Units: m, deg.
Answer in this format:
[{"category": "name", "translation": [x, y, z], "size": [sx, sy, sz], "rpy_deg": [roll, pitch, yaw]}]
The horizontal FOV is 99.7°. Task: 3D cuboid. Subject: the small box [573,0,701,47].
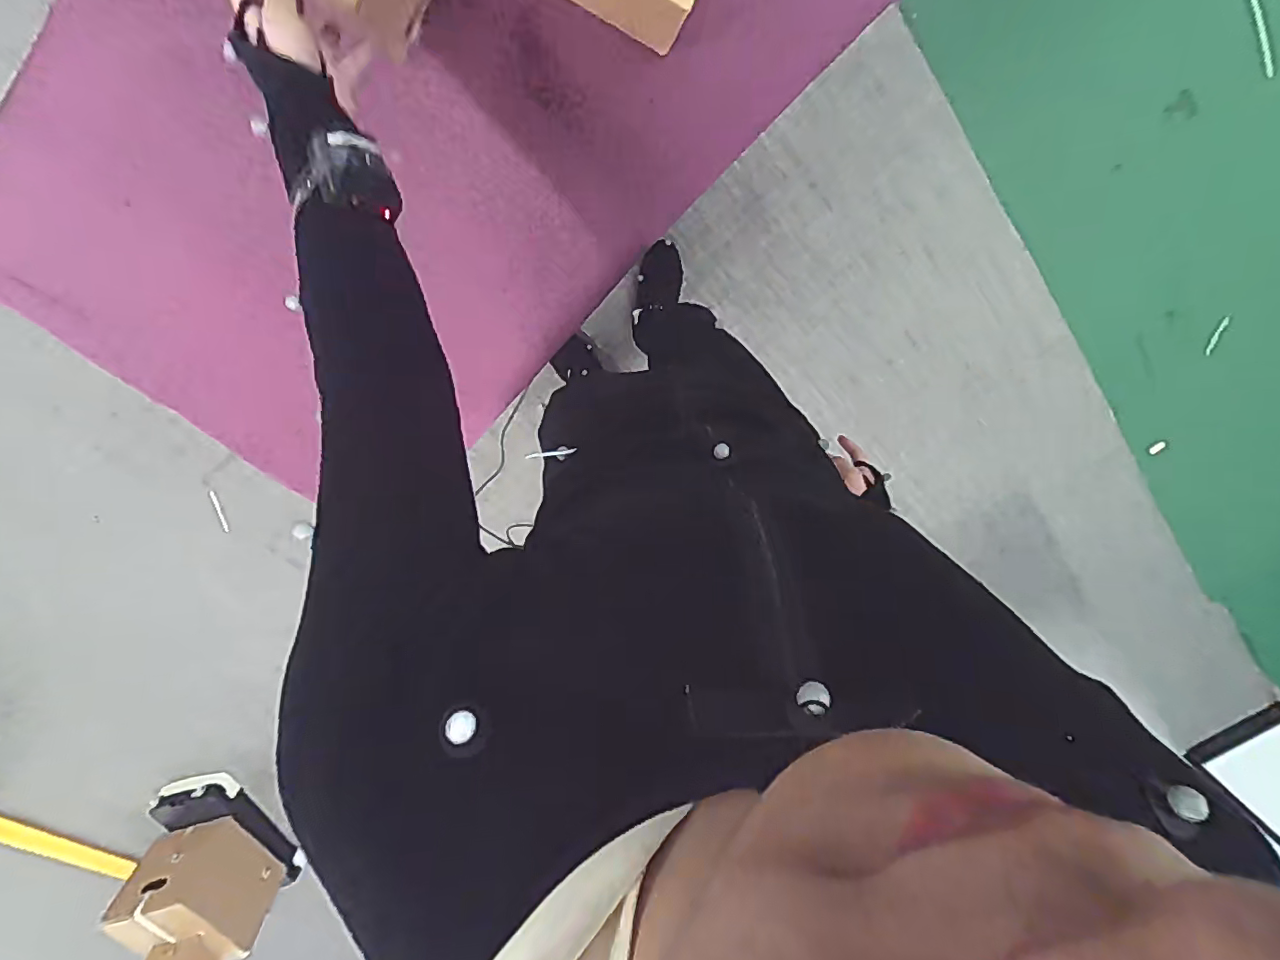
[{"category": "small box", "translation": [-0.003, -0.559, 0.519], "size": [0.179, 0.176, 0.168], "rpy_deg": [21, 113, -15]}]
